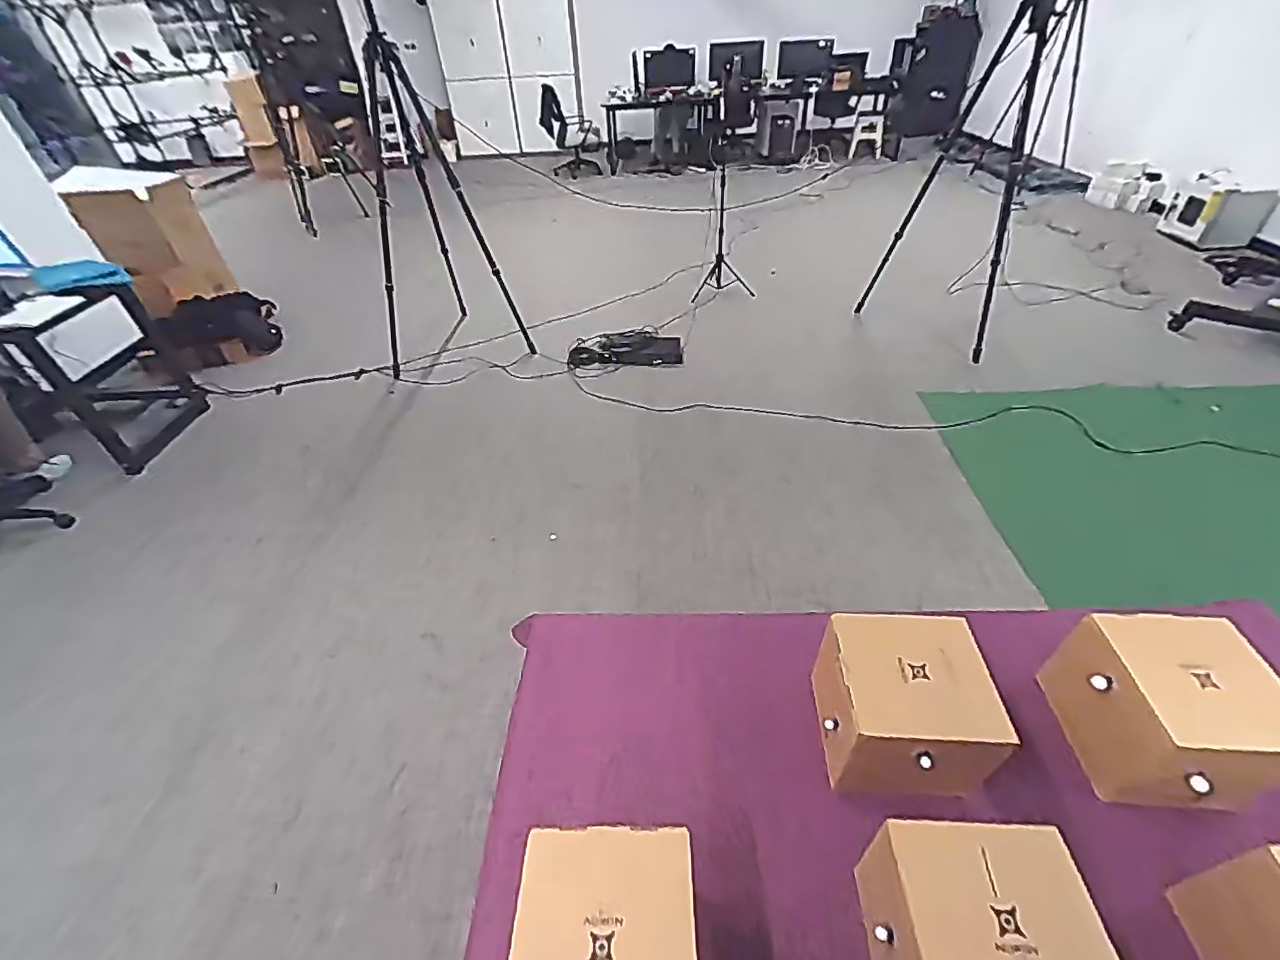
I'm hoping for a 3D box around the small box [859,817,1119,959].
[{"bbox_3d":[0.326,0.456,0.521,0.168,0.176,0.179,0,39,5],"label":"small box"}]

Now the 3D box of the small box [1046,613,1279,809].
[{"bbox_3d":[0.668,0.291,0.685,0.168,0.176,0.179,0,40,6],"label":"small box"}]

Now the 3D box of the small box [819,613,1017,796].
[{"bbox_3d":[0.342,0.295,0.712,0.179,0.176,0.168,1,41,6],"label":"small box"}]

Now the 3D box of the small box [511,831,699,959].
[{"bbox_3d":[-0.027,0.473,0.524,0.168,0.176,0.179,-2,35,3],"label":"small box"}]
